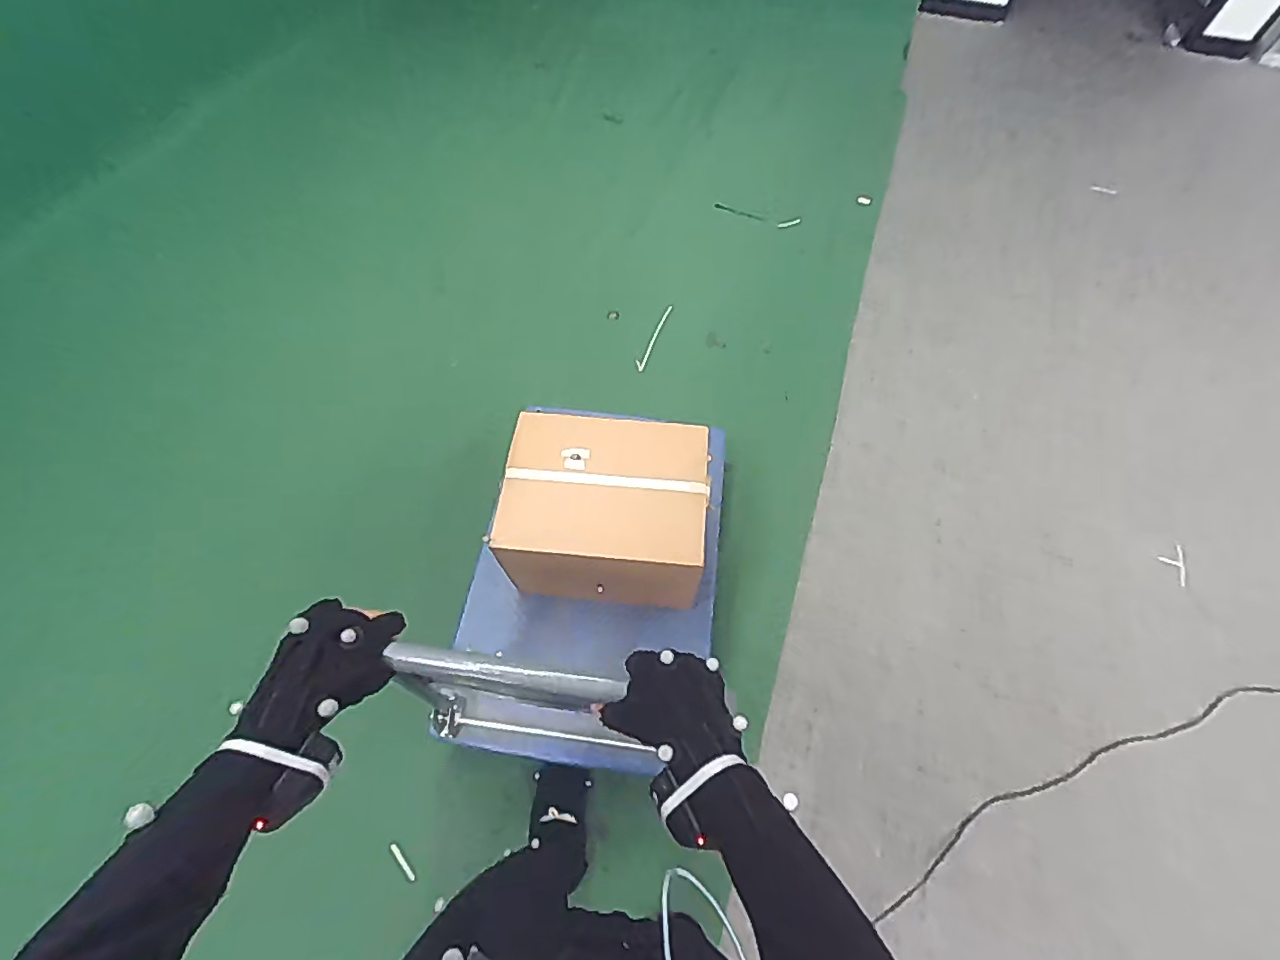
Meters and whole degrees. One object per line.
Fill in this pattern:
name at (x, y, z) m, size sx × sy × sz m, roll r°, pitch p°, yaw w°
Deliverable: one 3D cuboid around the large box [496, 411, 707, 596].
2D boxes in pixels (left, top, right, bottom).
large box at (-0.063, 0.065, 1.220) m, size 0.408 × 0.320 × 0.320 m, roll 4°, pitch 62°, yaw 3°
